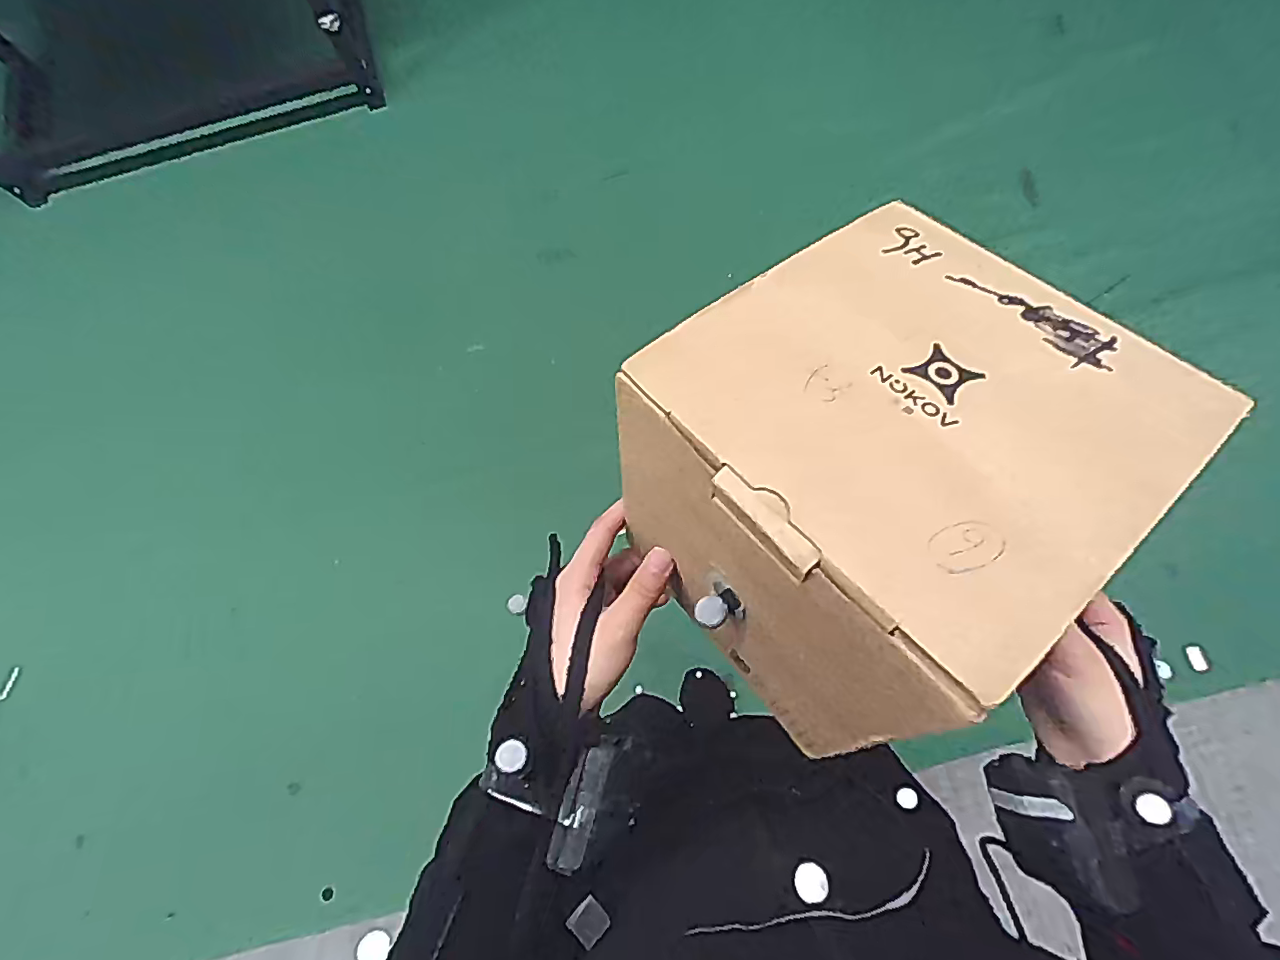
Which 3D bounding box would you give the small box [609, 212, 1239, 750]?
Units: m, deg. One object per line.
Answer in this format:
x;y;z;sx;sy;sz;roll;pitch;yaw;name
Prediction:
0.106;0.009;0.275;0.179;0.176;0.168;-34;64;-18;small box
